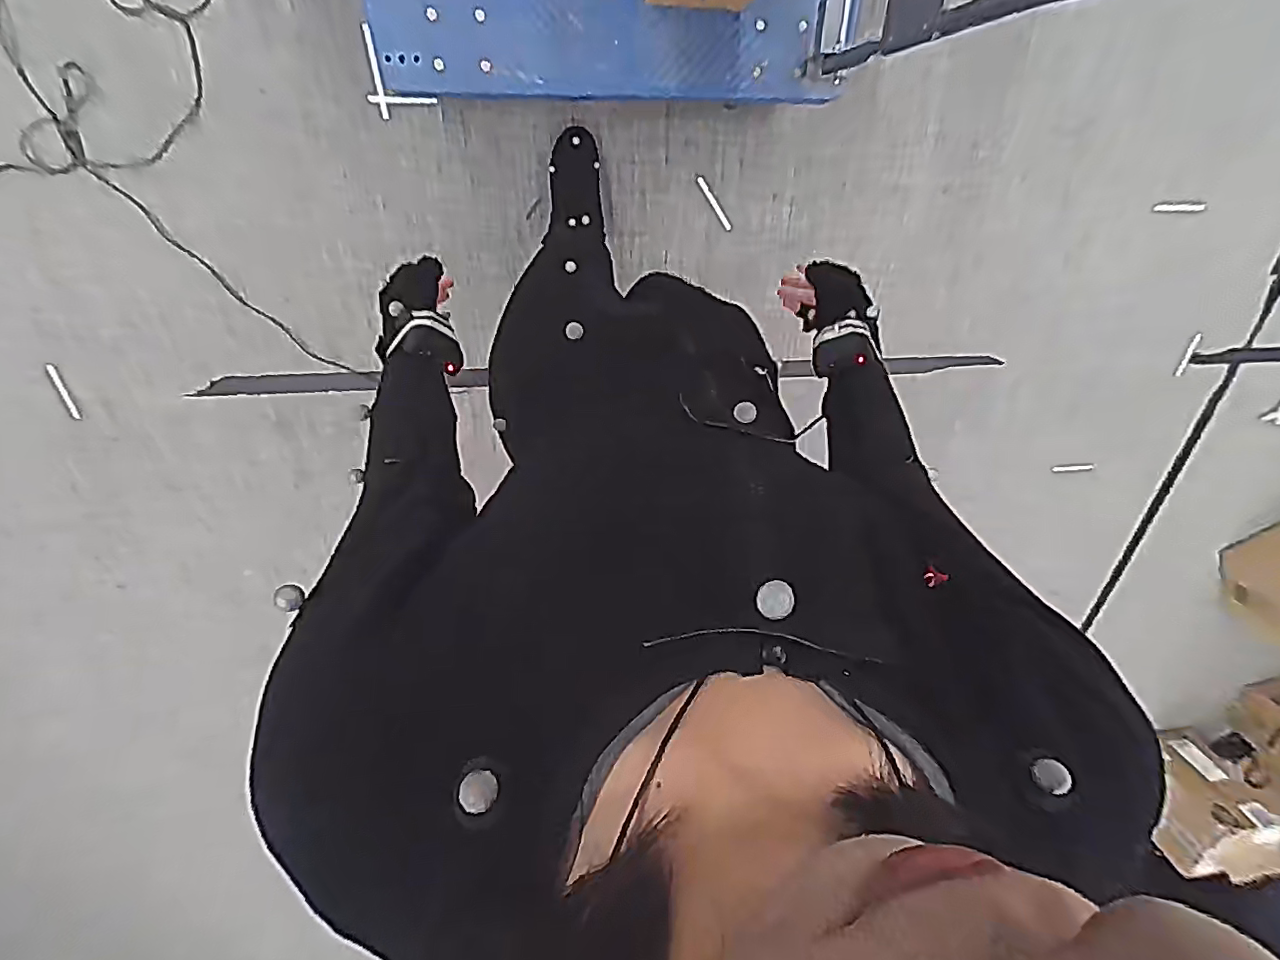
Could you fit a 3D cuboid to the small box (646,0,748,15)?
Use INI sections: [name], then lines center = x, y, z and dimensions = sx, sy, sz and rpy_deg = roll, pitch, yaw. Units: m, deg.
[small box]
center = 0.106, -0.864, 0.853
dimensions = 0.179, 0.176, 0.168
rpy_deg = -2, 120, -8
